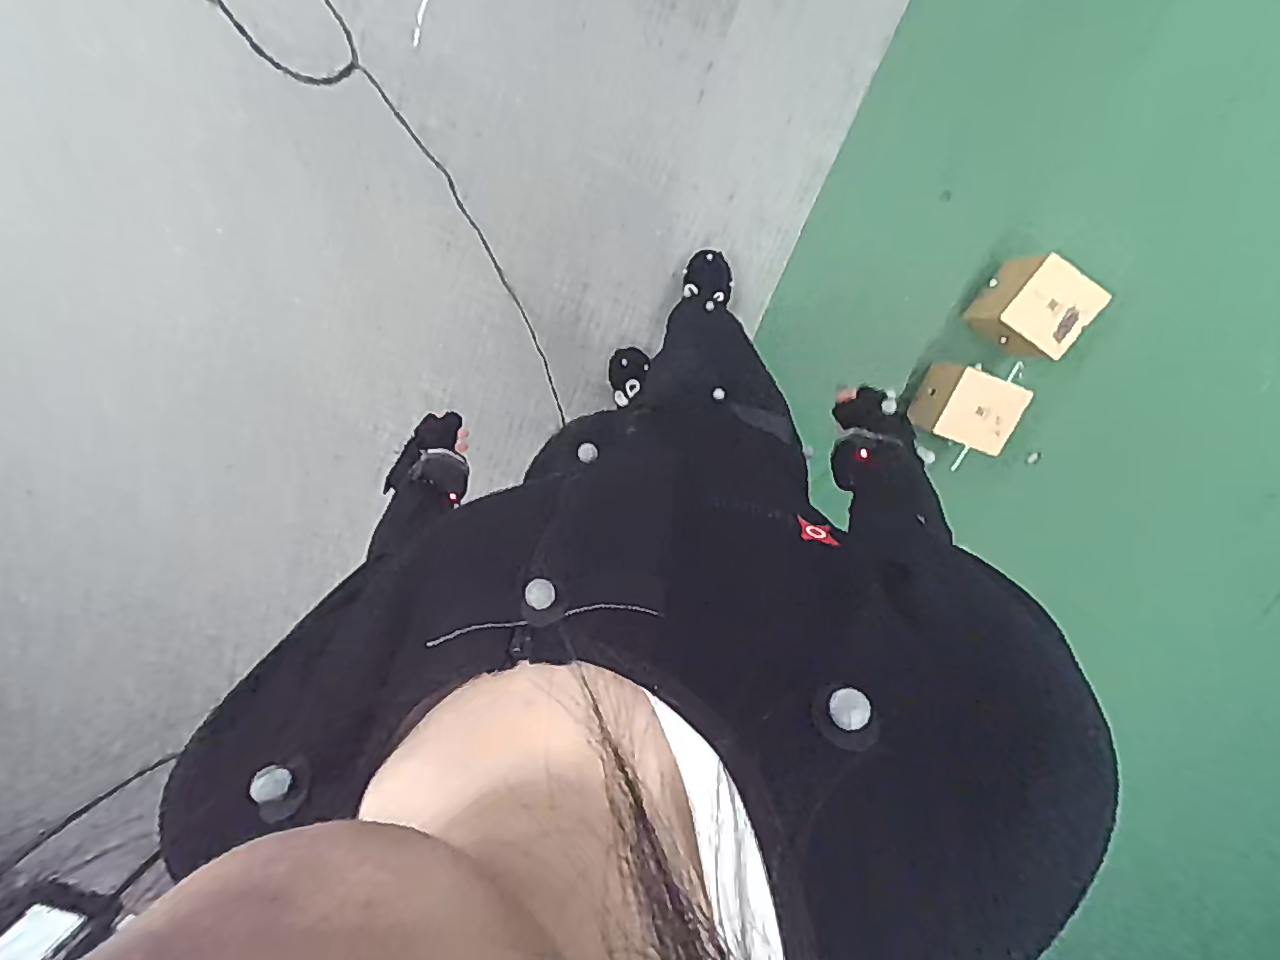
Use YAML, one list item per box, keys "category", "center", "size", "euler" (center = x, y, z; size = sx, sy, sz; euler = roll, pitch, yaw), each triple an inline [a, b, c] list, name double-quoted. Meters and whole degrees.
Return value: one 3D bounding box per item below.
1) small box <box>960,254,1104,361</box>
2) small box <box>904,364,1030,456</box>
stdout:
- category: "small box"
  center: [0.910, -0.402, 1.272]
  size: [0.179, 0.176, 0.168]
  euler: [33, 104, -6]
- category: "small box"
  center: [0.795, -0.181, 1.340]
  size: [0.179, 0.176, 0.168]
  euler: [20, 107, -5]
